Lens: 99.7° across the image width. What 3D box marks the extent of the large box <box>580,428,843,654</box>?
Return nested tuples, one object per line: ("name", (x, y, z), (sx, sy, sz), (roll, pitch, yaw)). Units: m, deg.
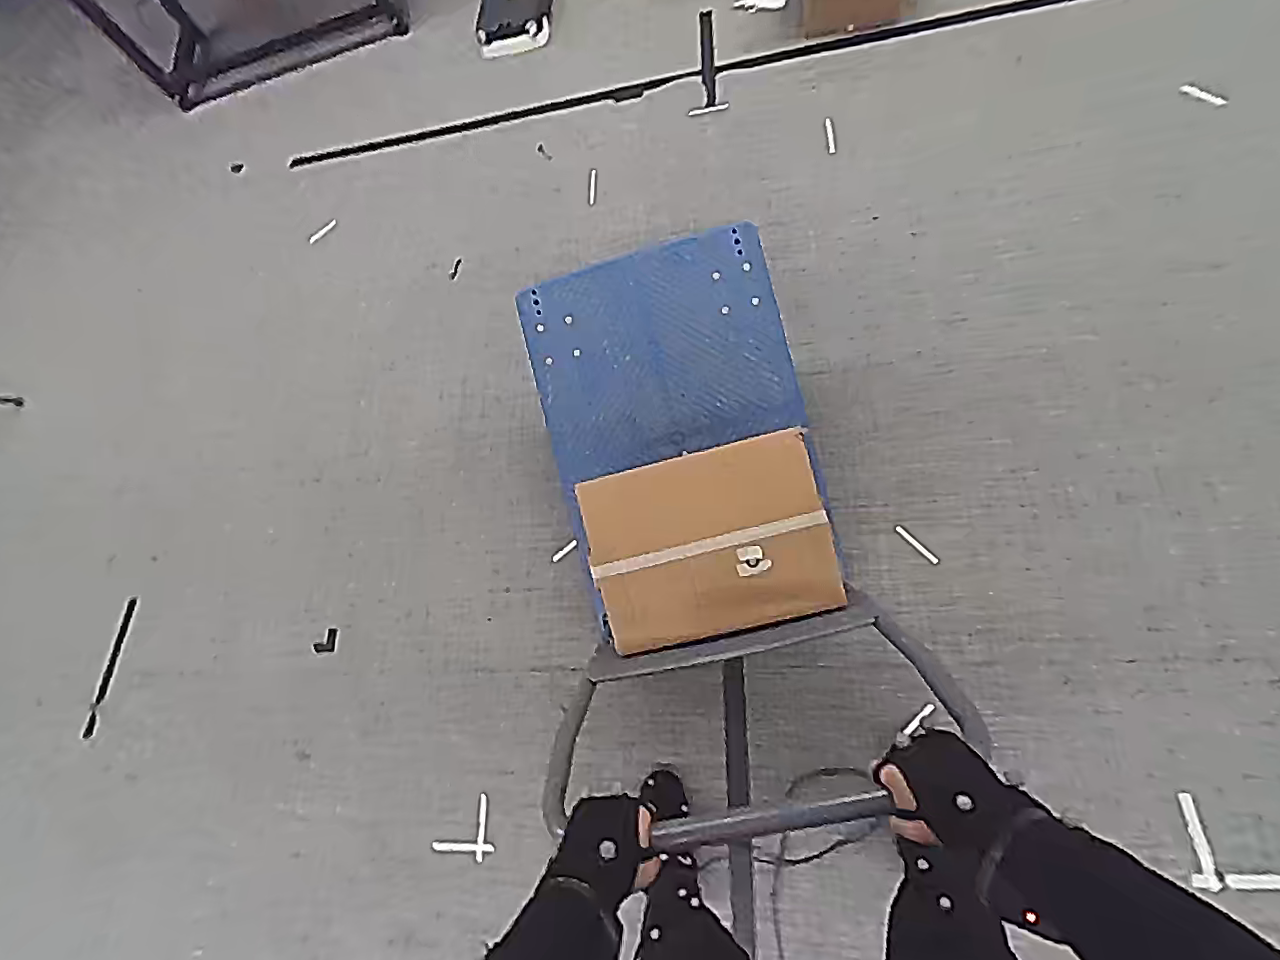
("large box", (0.132, 0.112, 1.094), (0.408, 0.320, 0.320), (-15, 89, 5))
